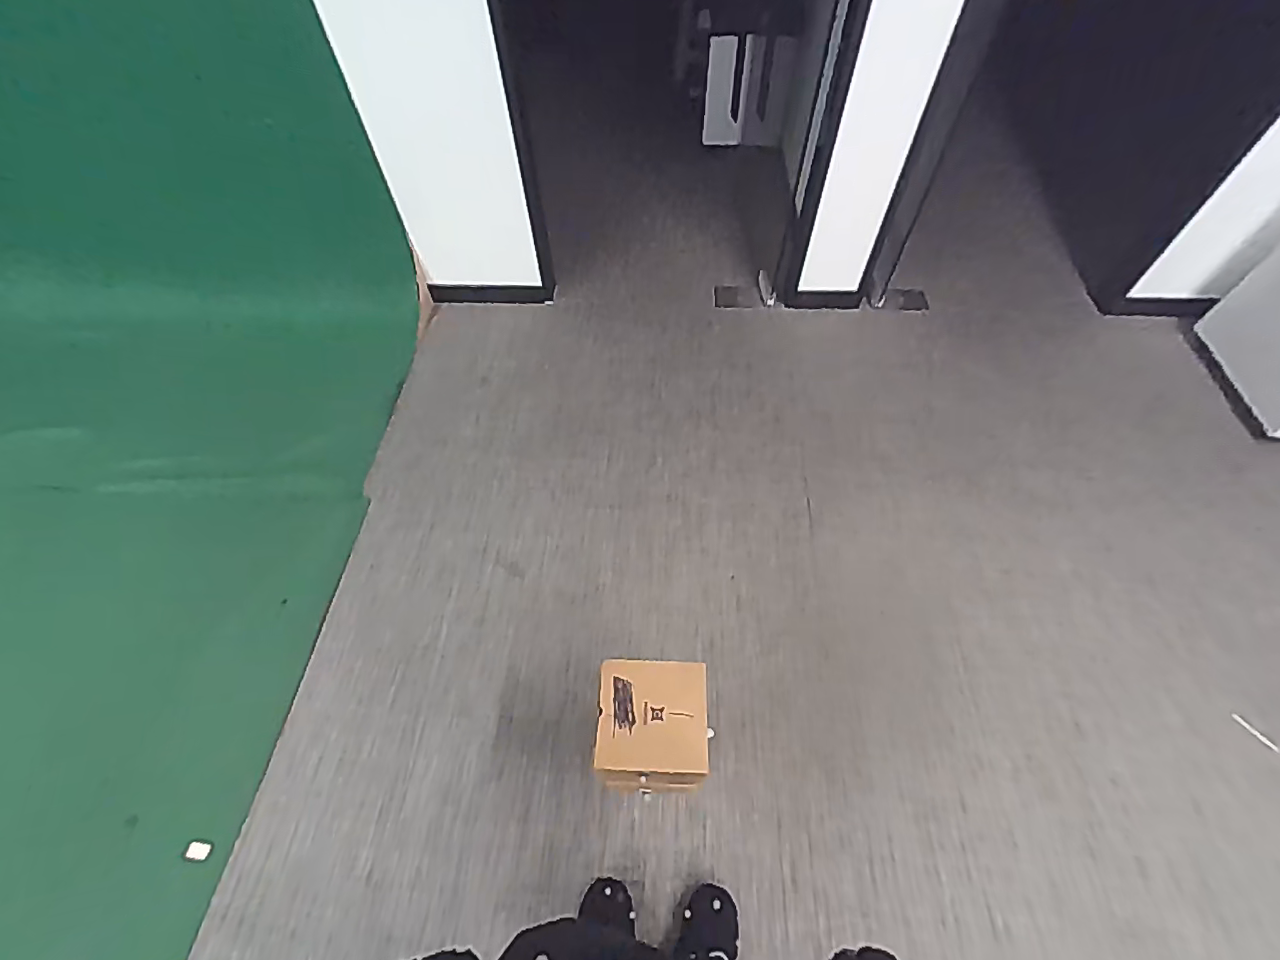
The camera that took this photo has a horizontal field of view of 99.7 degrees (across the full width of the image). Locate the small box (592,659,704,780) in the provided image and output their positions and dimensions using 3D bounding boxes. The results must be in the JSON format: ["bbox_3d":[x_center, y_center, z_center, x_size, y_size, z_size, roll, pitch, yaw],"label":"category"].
[{"bbox_3d":[0.019,0.419,0.937,0.179,0.176,0.168,1,57,3],"label":"small box"}]

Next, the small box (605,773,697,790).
[{"bbox_3d":[0.025,0.501,1.060,0.168,0.176,0.179,0,58,3],"label":"small box"}]
